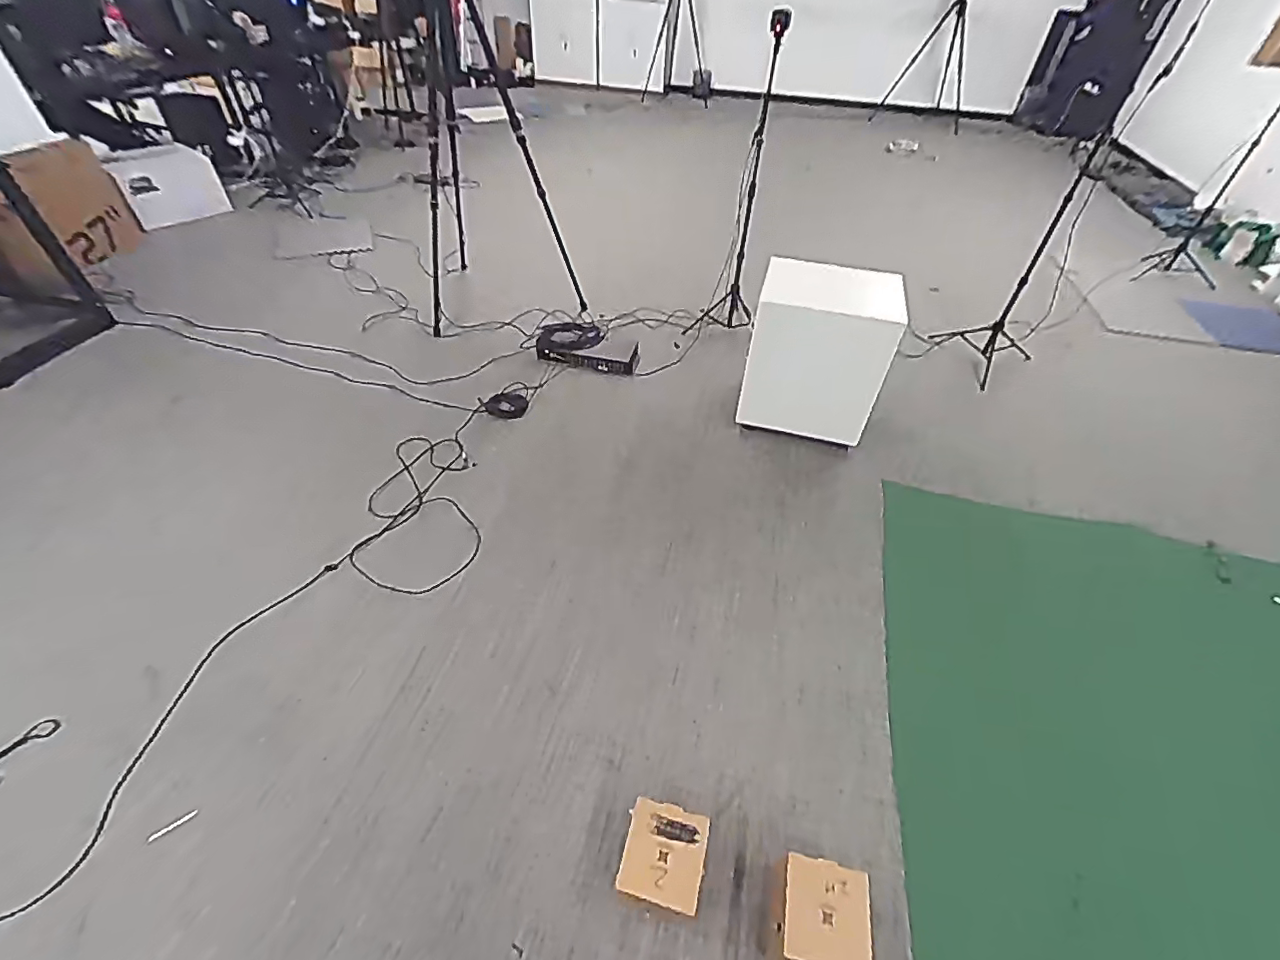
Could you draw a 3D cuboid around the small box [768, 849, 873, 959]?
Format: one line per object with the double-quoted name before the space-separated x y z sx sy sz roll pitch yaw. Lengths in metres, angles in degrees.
"small box" 0.365 0.897 1.109 0.168 0.176 0.179 12 46 8
